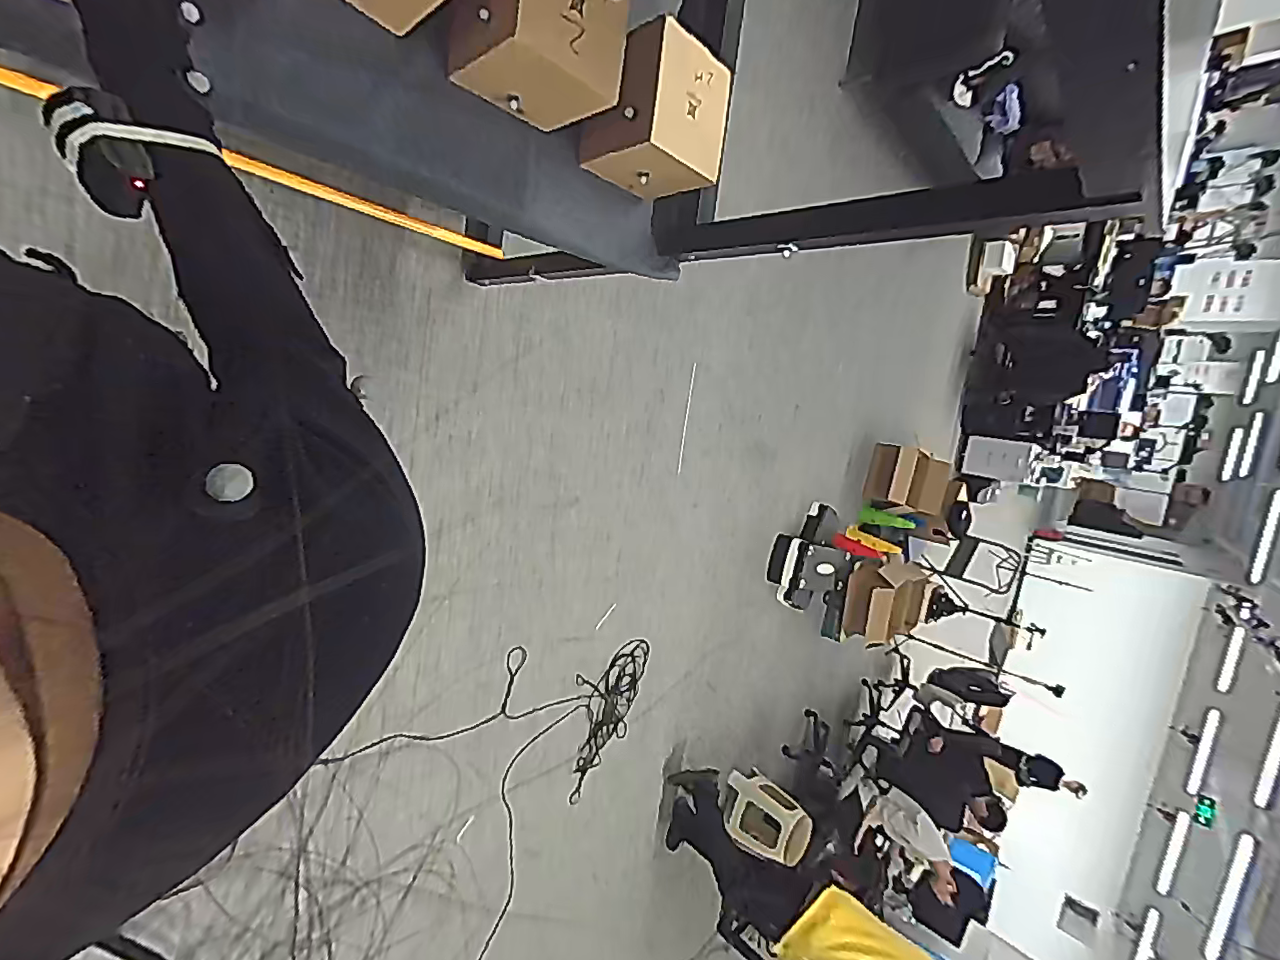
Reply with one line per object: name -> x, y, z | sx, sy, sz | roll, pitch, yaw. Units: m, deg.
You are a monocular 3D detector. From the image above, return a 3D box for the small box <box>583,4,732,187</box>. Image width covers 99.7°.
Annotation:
small box -> 0.024, -0.606, 0.887 | 0.168, 0.176, 0.179 | -2, 103, -47
